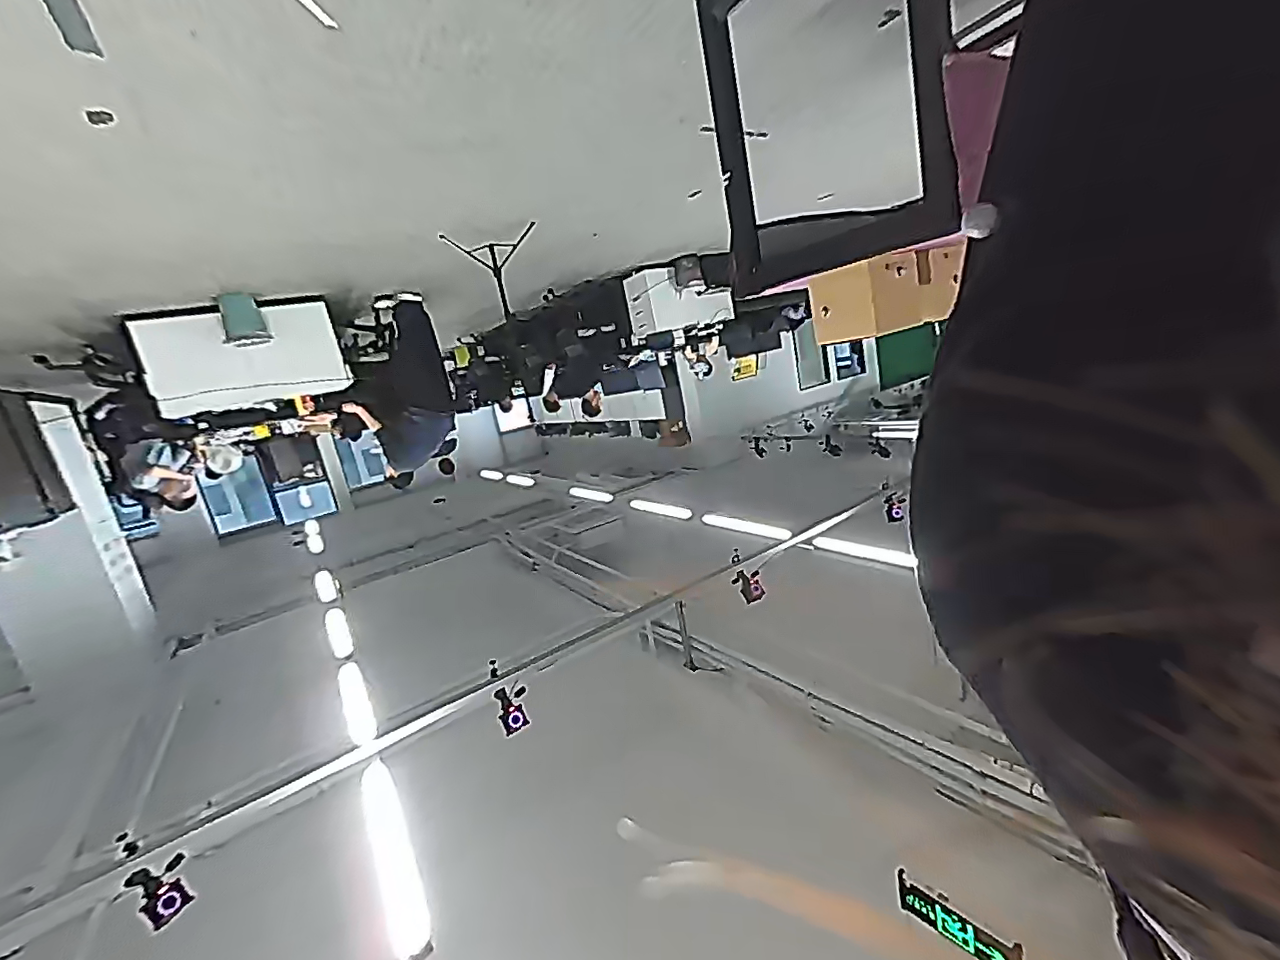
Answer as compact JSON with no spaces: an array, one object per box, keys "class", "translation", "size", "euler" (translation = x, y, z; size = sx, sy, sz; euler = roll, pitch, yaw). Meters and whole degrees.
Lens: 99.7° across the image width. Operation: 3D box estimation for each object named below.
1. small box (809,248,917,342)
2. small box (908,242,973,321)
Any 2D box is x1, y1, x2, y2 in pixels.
[{"class":"small box","translation":[0.516,-0.432,1.266],"size":[0.168,0.176,0.179],"euler":[-20,-165,-26]},{"class":"small box","translation":[0.713,-0.501,1.384],"size":[0.168,0.176,0.179],"euler":[-18,-166,-25]}]
